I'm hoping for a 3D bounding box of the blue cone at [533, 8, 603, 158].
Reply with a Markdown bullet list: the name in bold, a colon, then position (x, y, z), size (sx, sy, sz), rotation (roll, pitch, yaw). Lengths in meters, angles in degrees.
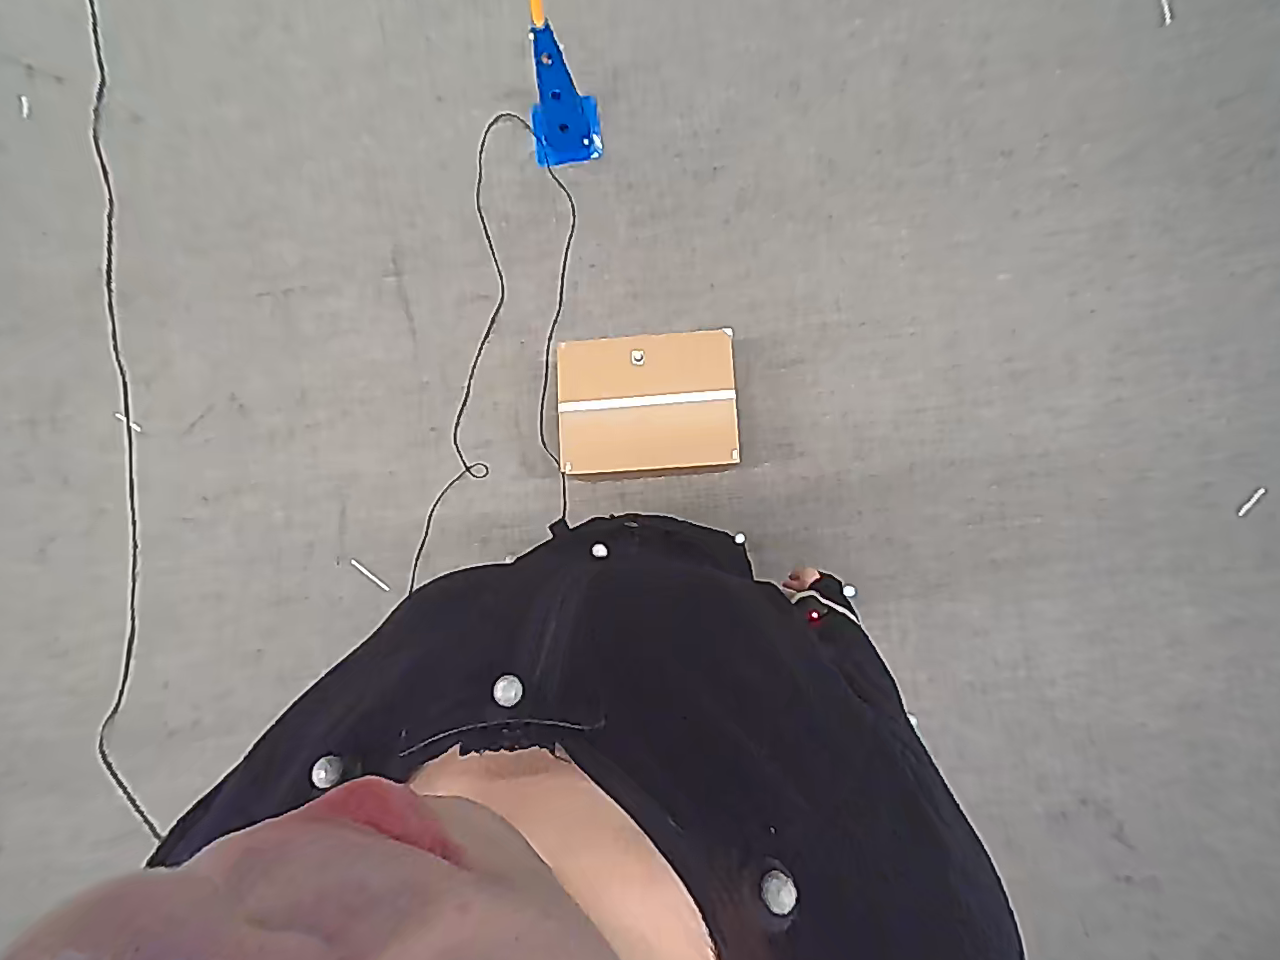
- **blue cone**: position (-0.217, -1.055, 1.413), size (0.193, 0.380, 0.192), rotation (-10, 86, 1)
